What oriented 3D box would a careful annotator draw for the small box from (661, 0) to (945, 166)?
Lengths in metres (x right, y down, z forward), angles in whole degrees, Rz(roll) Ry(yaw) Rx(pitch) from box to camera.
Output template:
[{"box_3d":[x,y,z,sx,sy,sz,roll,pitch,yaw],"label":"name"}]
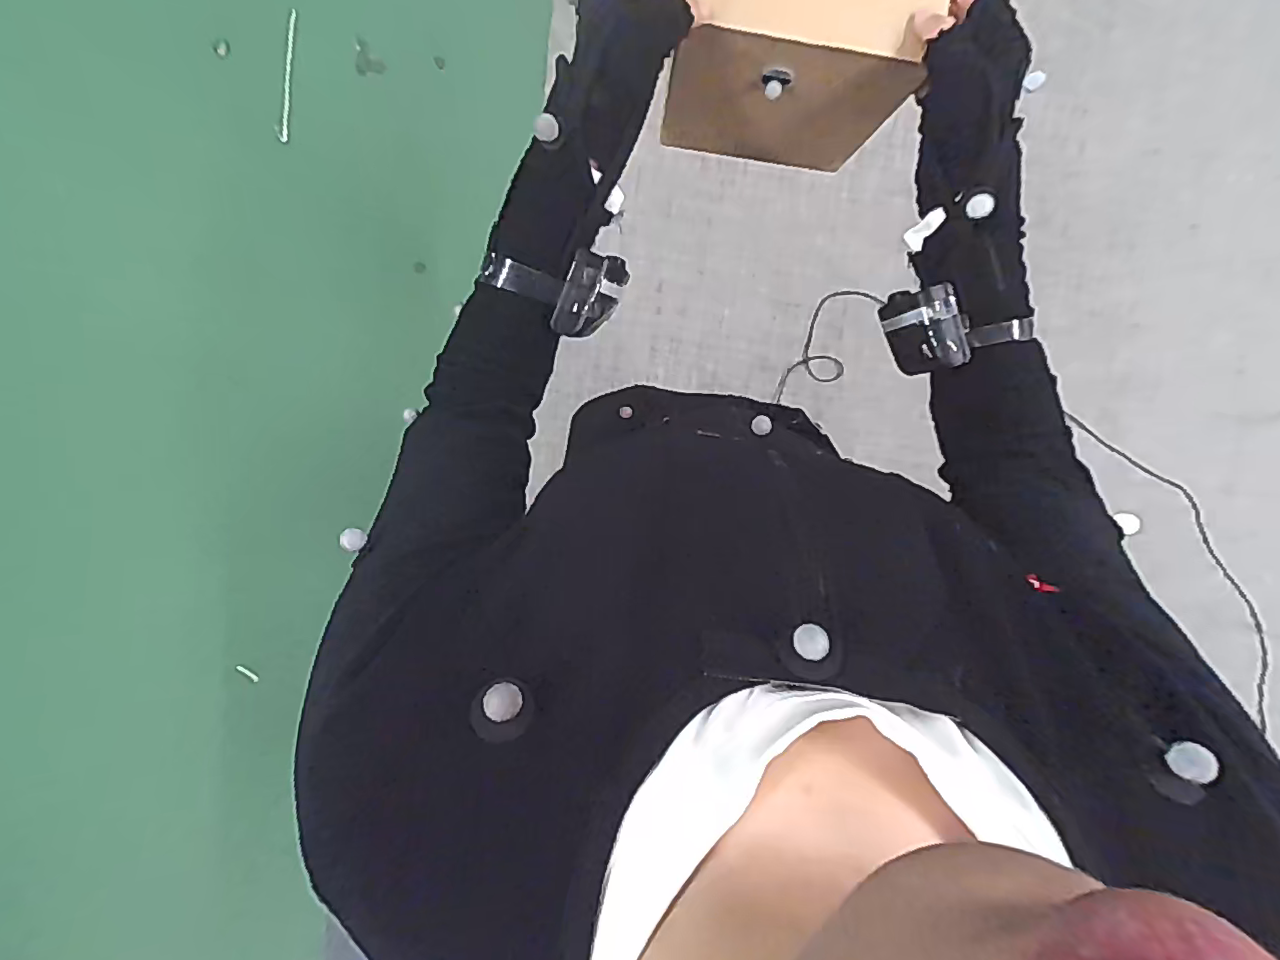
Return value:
[{"box_3d":[0.116,-0.375,0.425,0.179,0.176,0.168,7,98,-5],"label":"small box"}]
